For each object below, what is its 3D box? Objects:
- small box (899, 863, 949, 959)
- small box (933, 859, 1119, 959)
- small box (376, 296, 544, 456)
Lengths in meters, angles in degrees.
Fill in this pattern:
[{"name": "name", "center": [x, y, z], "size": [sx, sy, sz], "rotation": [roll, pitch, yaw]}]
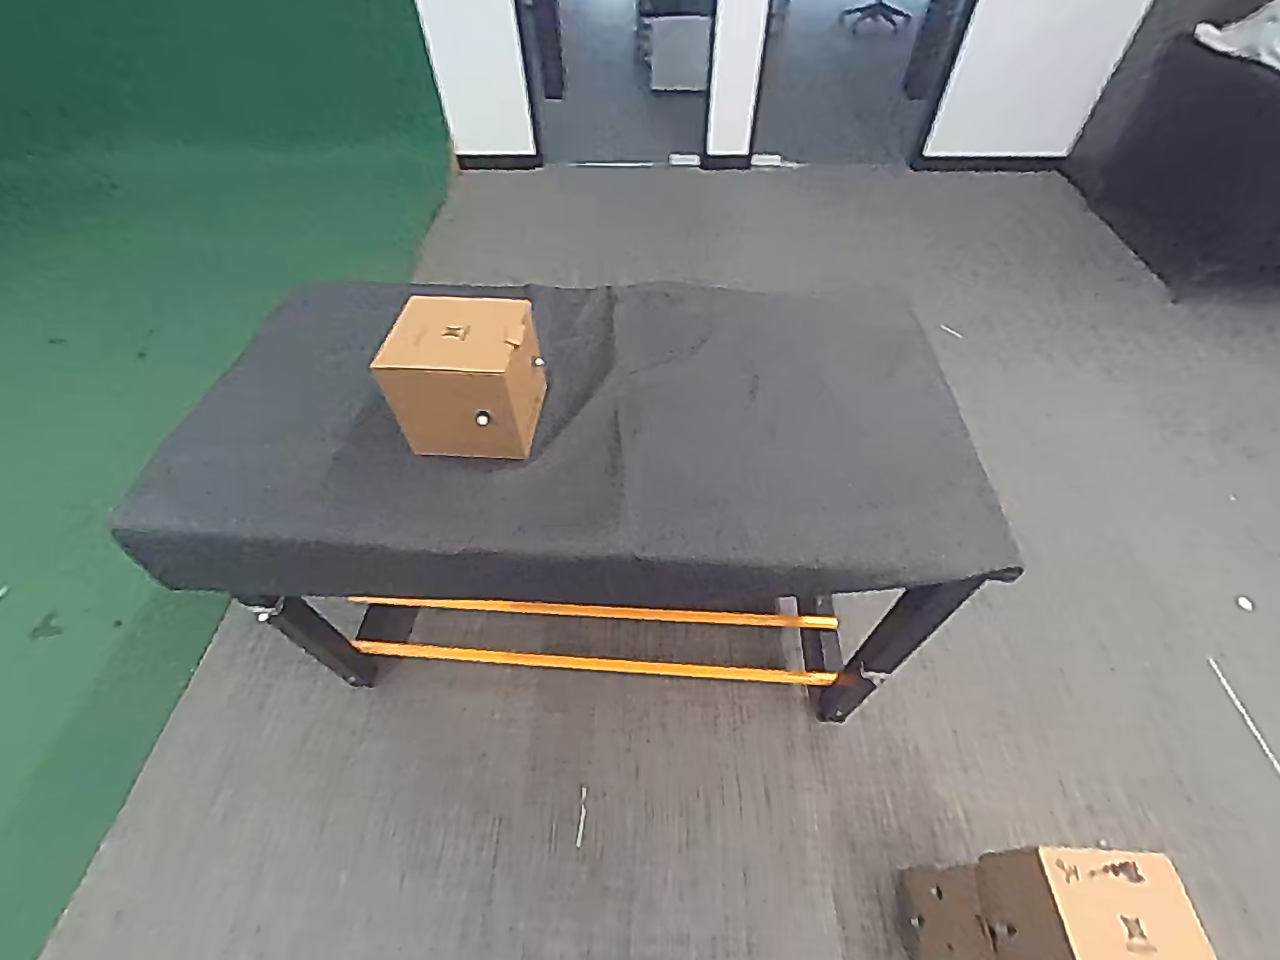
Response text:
[{"name": "small box", "center": [0.595, 0.796, 0.962], "size": [0.179, 0.176, 0.168], "rotation": [4, 51, 2]}, {"name": "small box", "center": [0.582, 0.696, 0.833], "size": [0.179, 0.176, 0.168], "rotation": [2, 51, 1]}, {"name": "small box", "center": [-0.246, -0.149, 0.797], "size": [0.179, 0.176, 0.168], "rotation": [2, 50, 3]}]
